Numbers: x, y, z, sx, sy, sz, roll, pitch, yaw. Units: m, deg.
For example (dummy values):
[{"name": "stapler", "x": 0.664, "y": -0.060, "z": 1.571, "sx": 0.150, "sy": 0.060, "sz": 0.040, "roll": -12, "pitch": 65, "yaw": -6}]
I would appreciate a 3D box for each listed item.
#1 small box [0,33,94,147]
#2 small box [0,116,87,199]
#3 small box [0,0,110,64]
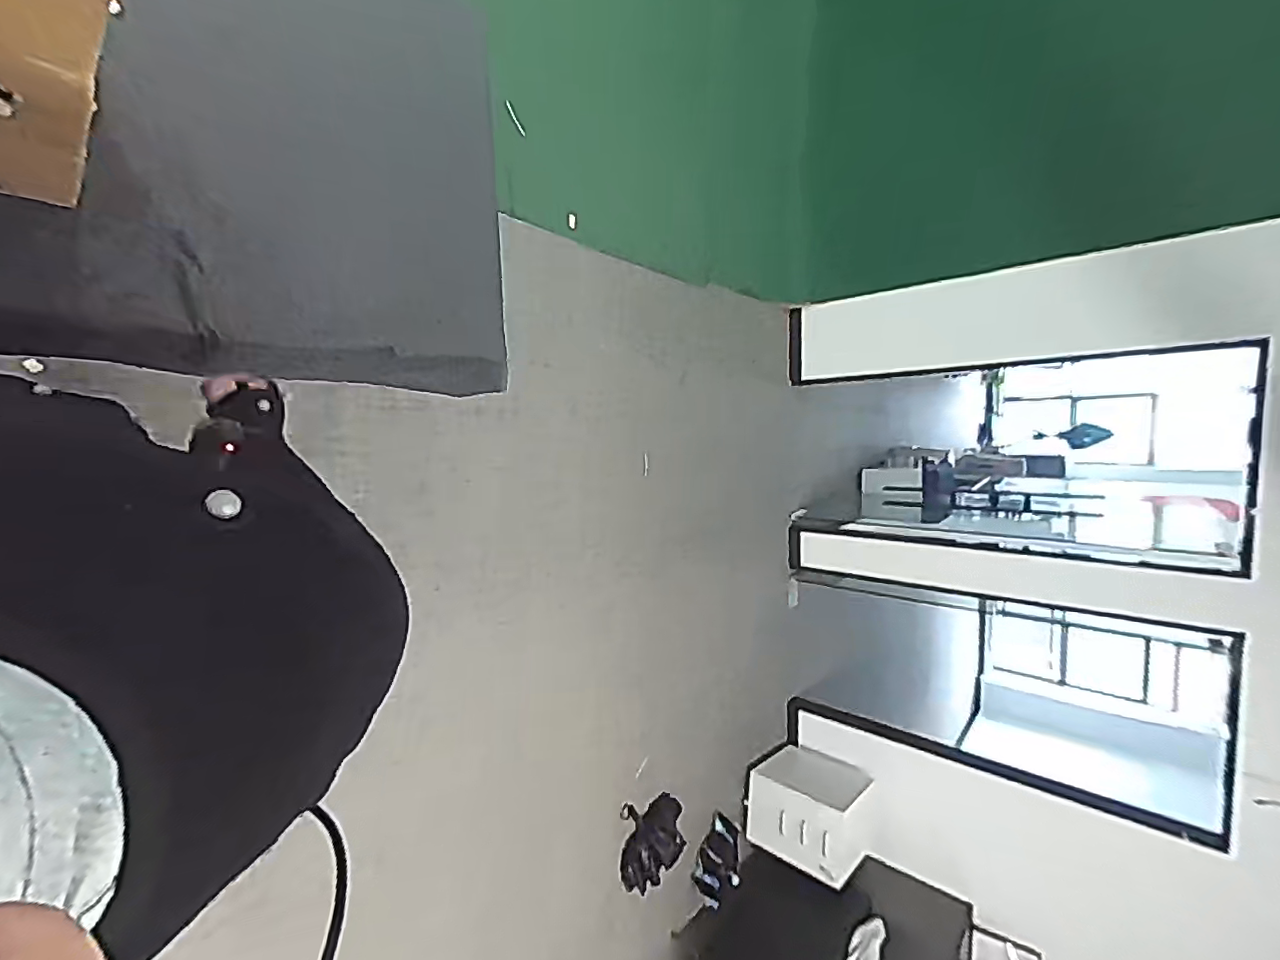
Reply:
[{"name": "small box", "x": -0.496, "y": -0.372, "z": 0.372, "sx": 0.168, "sy": 0.176, "sz": 0.179, "roll": 0, "pitch": 92, "yaw": -50}, {"name": "small box", "x": -0.617, "y": -0.383, "z": 0.478, "sx": 0.168, "sy": 0.176, "sz": 0.179, "roll": -5, "pitch": 97, "yaw": -48}, {"name": "small box", "x": -0.371, "y": -0.364, "z": 0.267, "sx": 0.168, "sy": 0.176, "sz": 0.179, "roll": 3, "pitch": 92, "yaw": -50}]
